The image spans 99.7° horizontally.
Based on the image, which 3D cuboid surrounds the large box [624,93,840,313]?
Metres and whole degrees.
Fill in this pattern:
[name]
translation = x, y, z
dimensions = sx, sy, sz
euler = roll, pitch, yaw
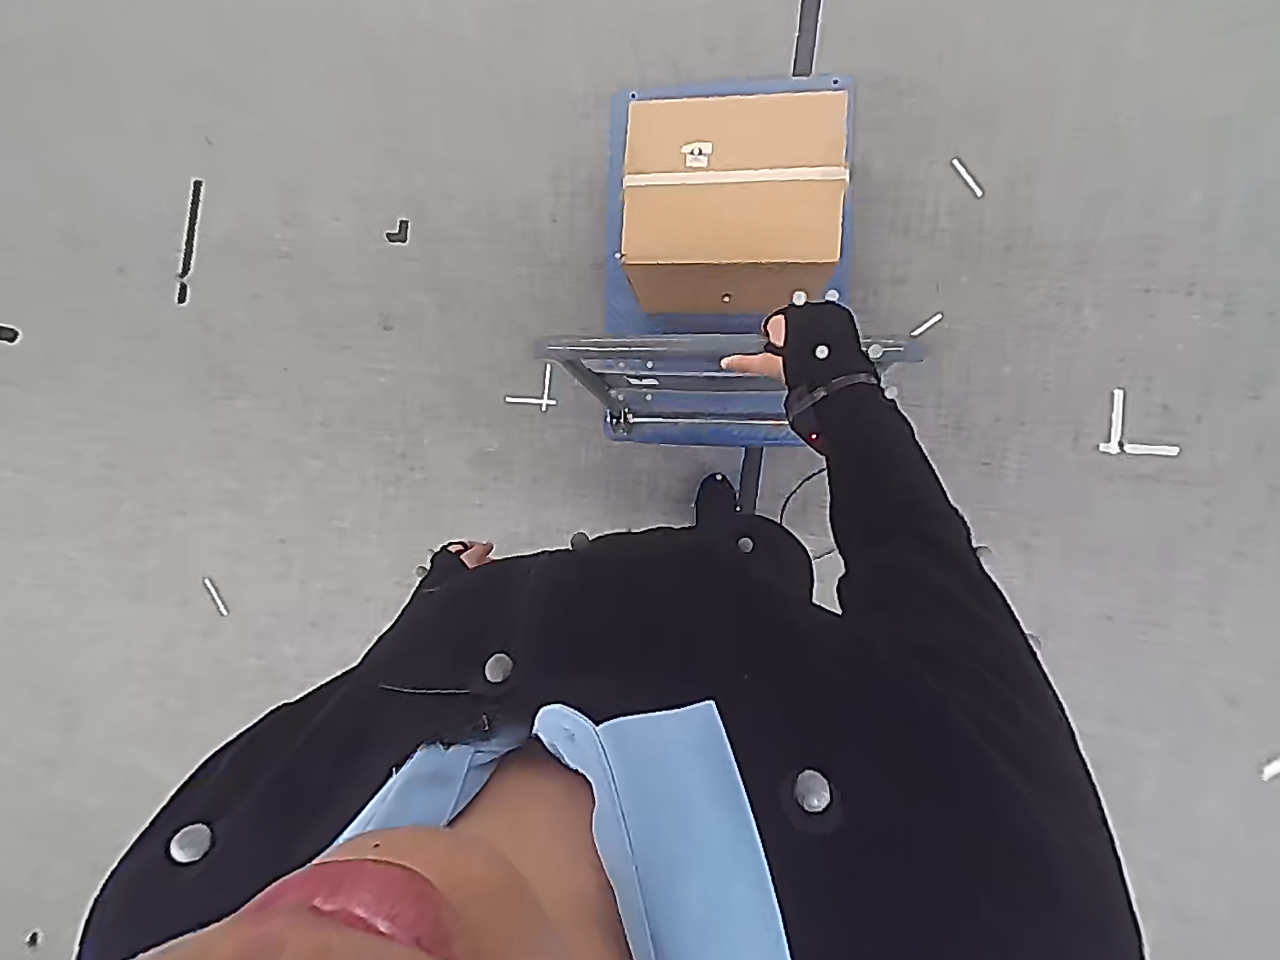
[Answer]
[large box]
translation = 0.195, -0.561, 1.168
dimensions = 0.408, 0.320, 0.320
euler = 2, 89, 10
